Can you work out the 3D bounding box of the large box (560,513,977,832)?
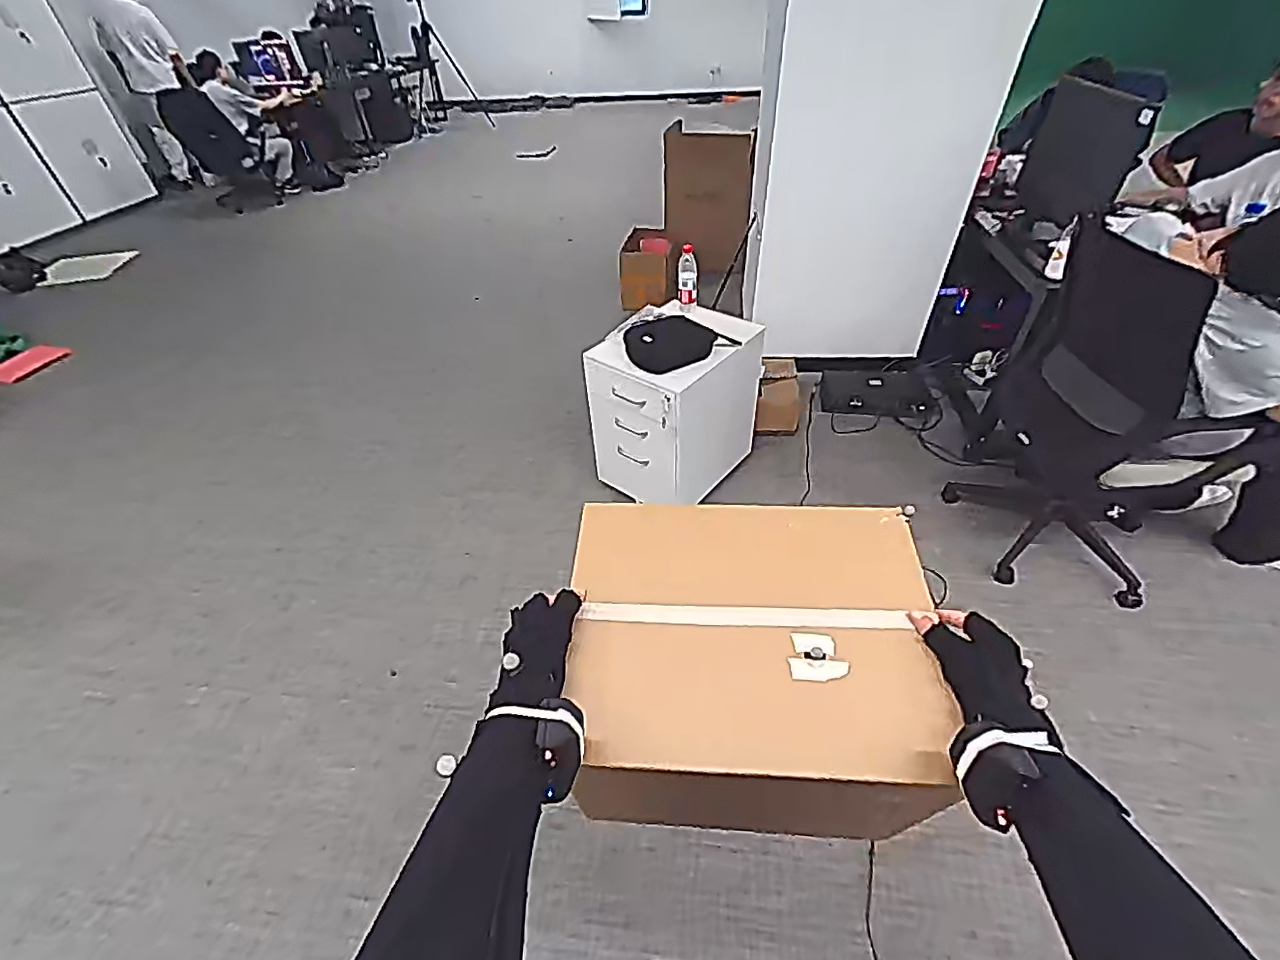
[{"bbox_3d":[0.130,0.258,0.721,0.408,0.320,0.320,1,50,4],"label":"large box"}]
